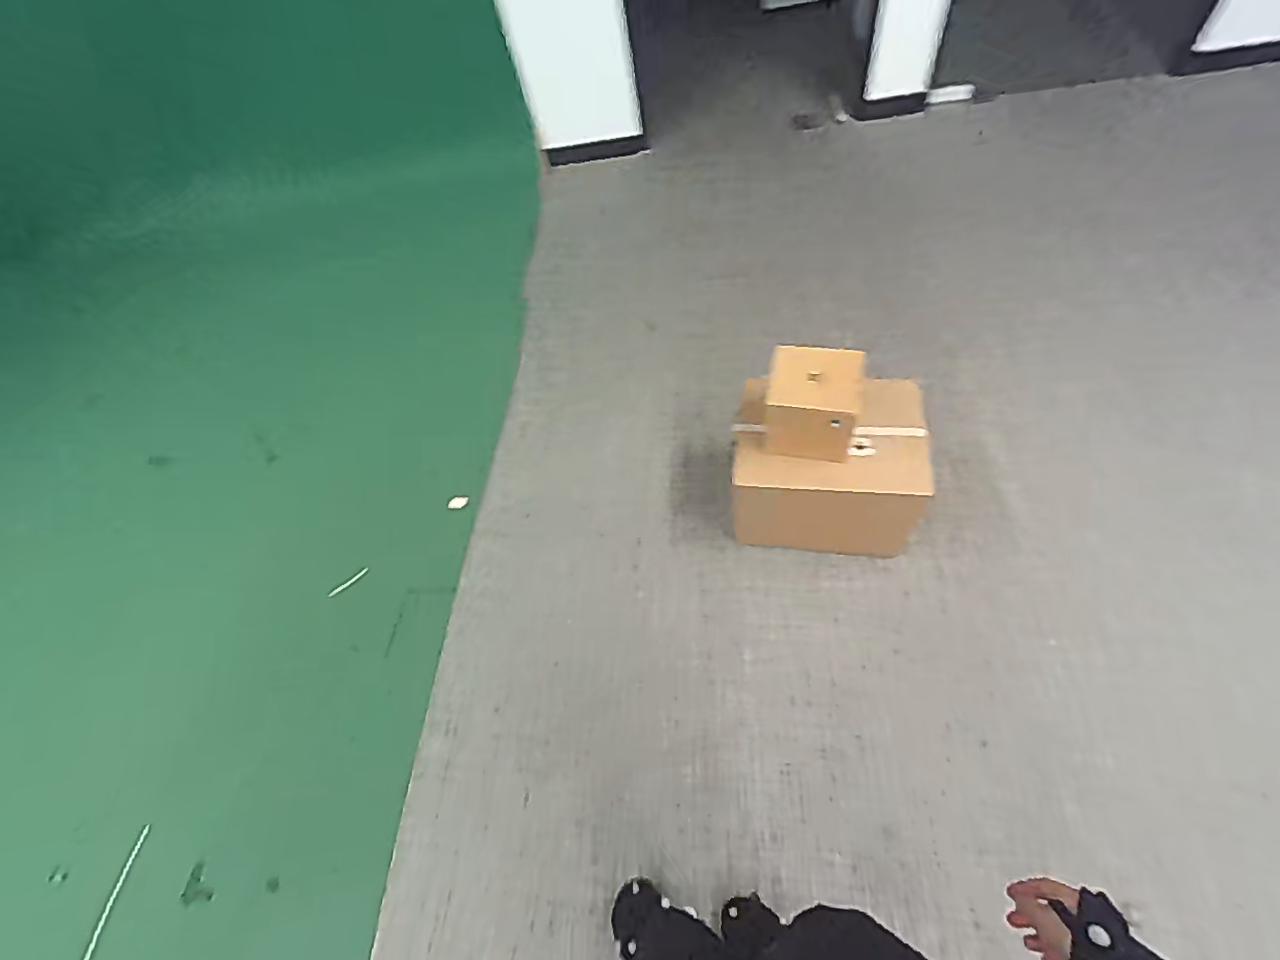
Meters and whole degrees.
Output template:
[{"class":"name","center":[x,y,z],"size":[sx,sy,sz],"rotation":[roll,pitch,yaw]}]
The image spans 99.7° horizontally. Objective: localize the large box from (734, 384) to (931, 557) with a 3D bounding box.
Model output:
[{"class":"large box","center":[0.438,-0.019,1.334],"size":[0.408,0.320,0.320],"rotation":[3,60,11]}]

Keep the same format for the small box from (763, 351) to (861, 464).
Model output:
[{"class":"small box","center":[0.358,-0.151,1.142],"size":[0.179,0.176,0.168],"rotation":[8,59,15]}]
